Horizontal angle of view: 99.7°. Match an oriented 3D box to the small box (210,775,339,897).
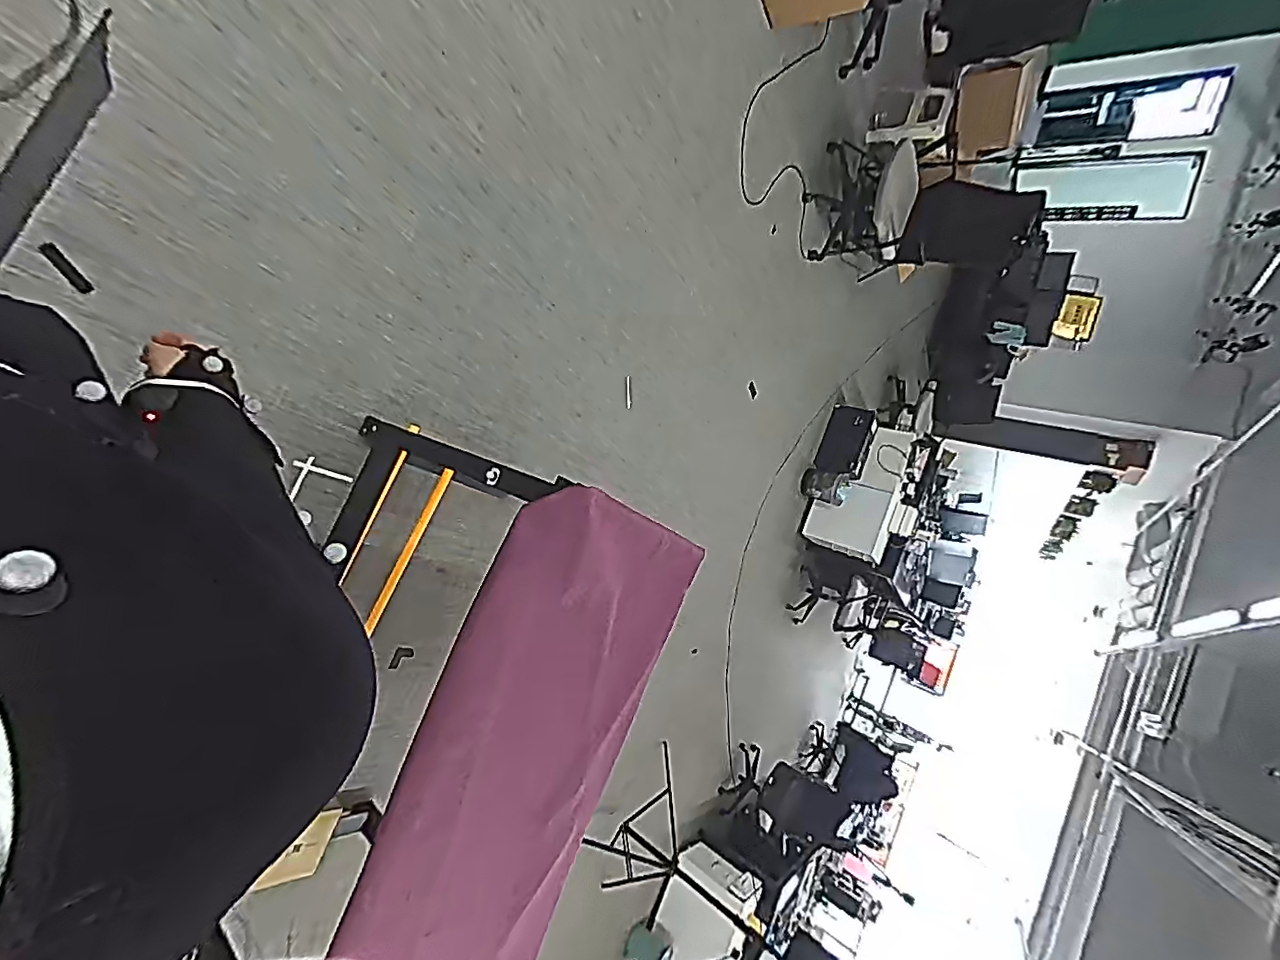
[{"bbox_3d":[-0.872,0.834,1.288,0.179,0.176,0.168,34,76,-55],"label":"small box"}]
